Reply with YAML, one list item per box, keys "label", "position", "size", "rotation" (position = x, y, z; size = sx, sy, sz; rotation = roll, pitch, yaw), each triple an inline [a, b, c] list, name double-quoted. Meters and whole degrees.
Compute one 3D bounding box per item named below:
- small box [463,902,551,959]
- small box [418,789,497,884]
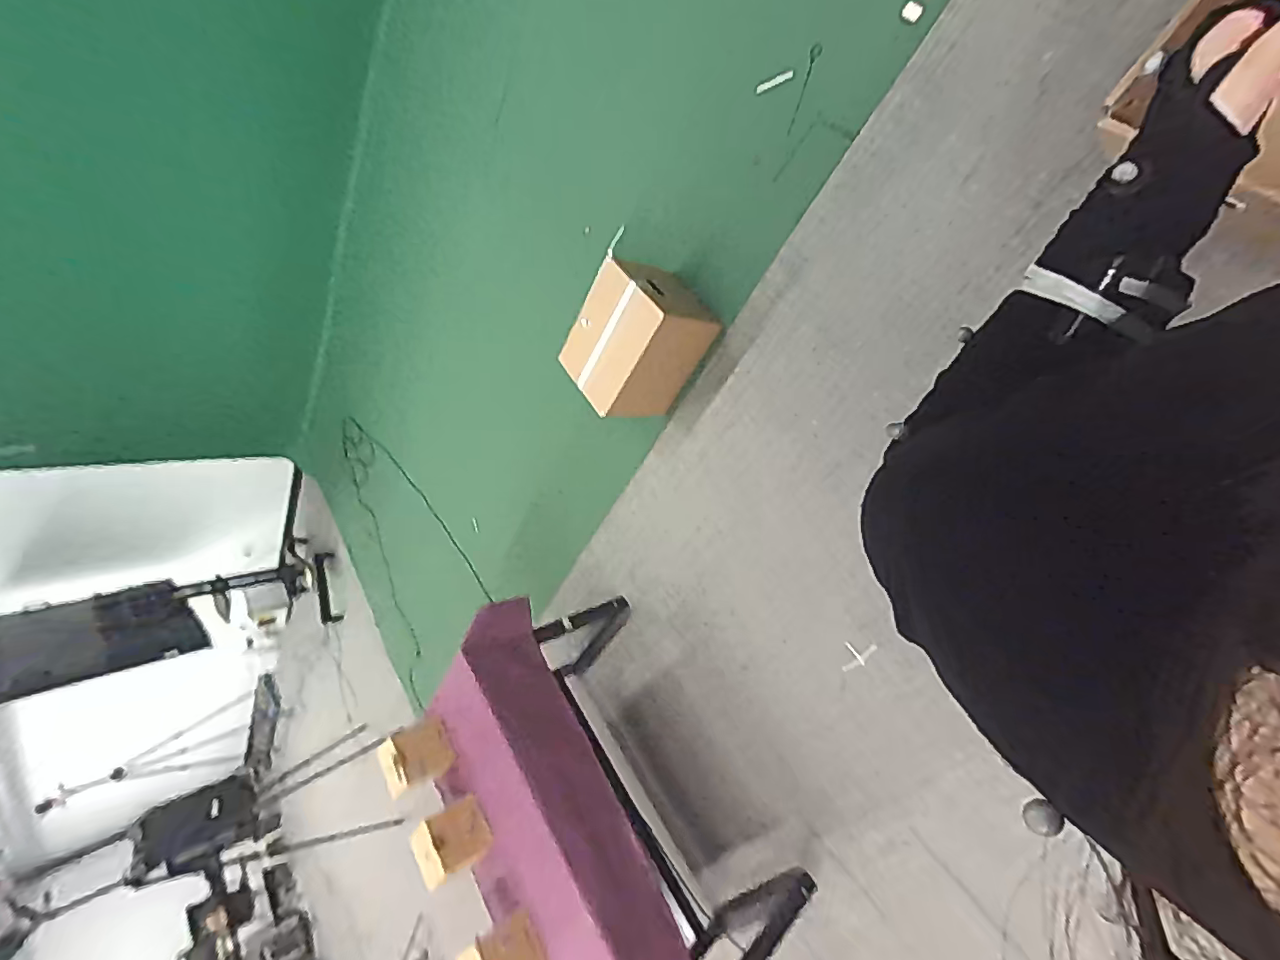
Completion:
- label: "small box"
  position: [-0.381, 1.371, 1.564]
  size: [0.168, 0.176, 0.179]
  rotation: [53, 128, 26]
- label: "small box"
  position: [-0.578, 1.129, 1.720]
  size: [0.168, 0.176, 0.179]
  rotation: [51, 126, 26]
